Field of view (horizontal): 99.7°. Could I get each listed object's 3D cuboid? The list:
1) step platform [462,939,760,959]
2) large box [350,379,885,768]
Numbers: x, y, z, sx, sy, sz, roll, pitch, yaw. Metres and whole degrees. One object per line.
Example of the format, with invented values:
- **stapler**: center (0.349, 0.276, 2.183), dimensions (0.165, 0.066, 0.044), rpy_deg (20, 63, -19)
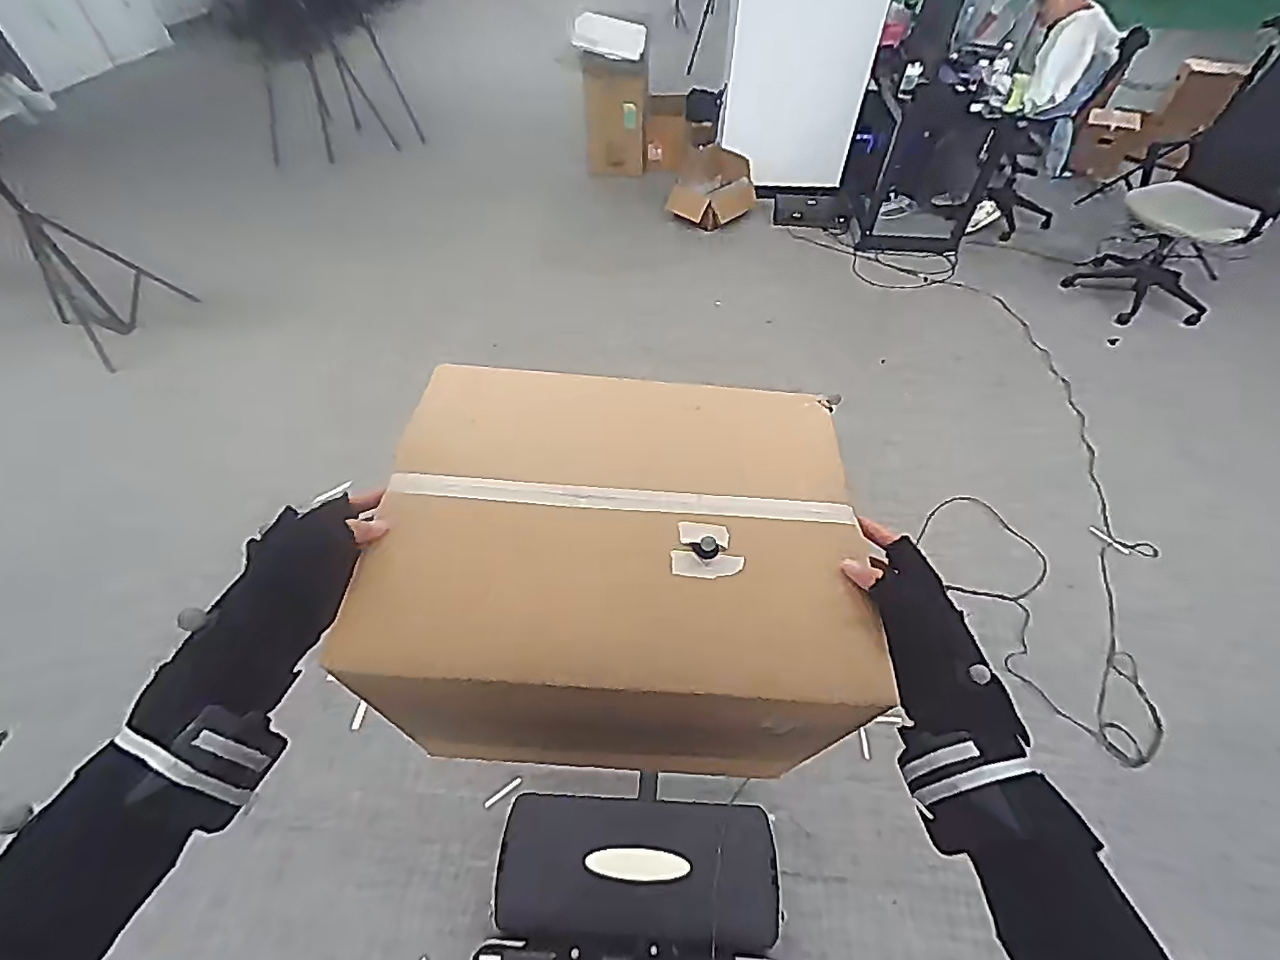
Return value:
- **step platform**: center (-0.057, 1.139, 1.099), dimensions (0.684, 0.204, 0.286), rpy_deg (1, 51, 3)
- **large box**: center (-0.021, 0.117, 0.601), dimensions (0.408, 0.320, 0.320), rpy_deg (5, 53, -2)
